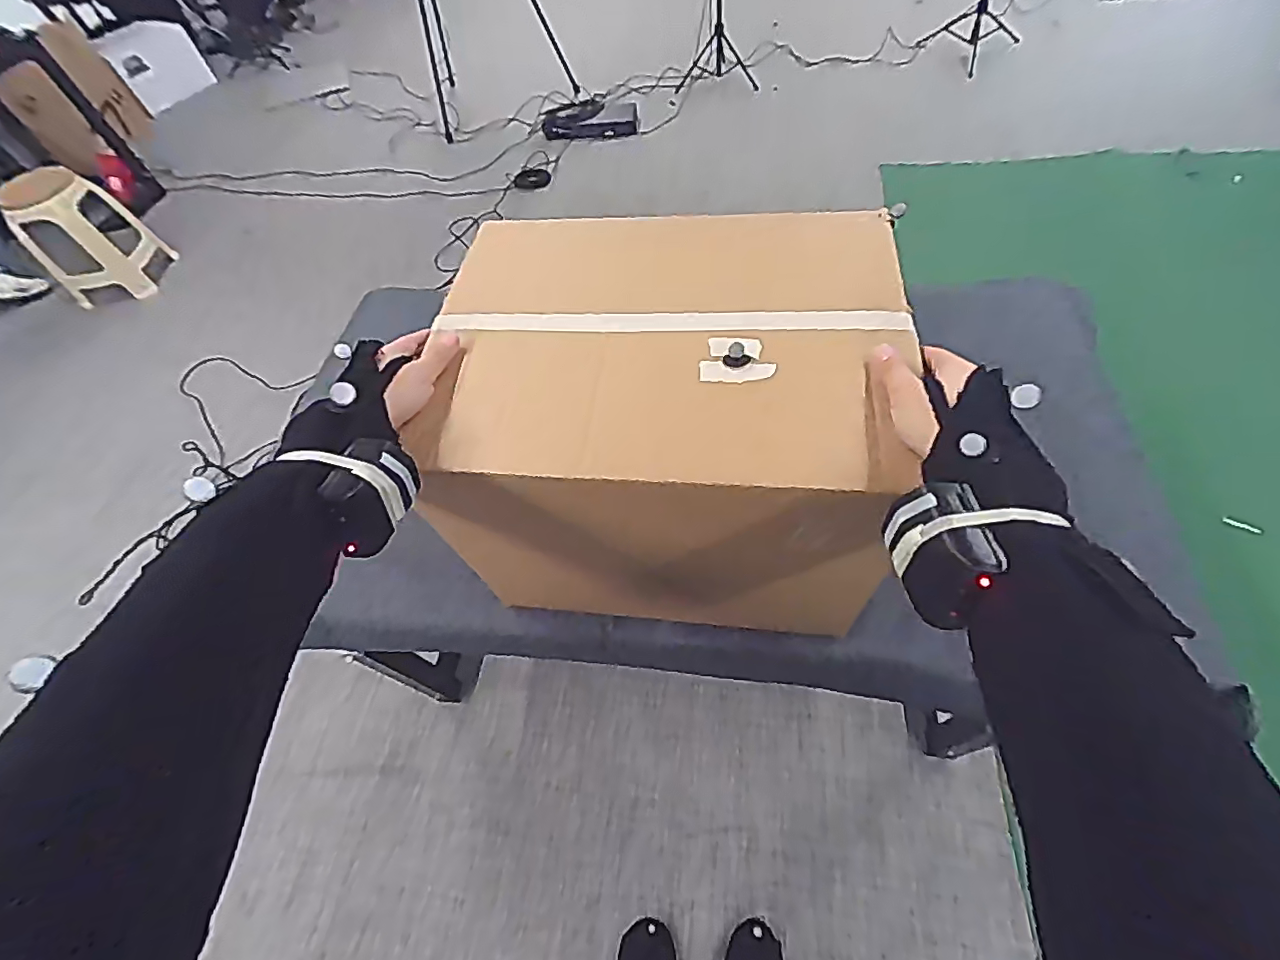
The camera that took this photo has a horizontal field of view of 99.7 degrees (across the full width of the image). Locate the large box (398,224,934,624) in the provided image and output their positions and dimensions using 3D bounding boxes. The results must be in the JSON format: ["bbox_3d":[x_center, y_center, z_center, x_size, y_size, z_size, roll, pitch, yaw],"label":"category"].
[{"bbox_3d":[0.033,-0.048,0.596,0.408,0.320,0.320,3,58,8],"label":"large box"}]
